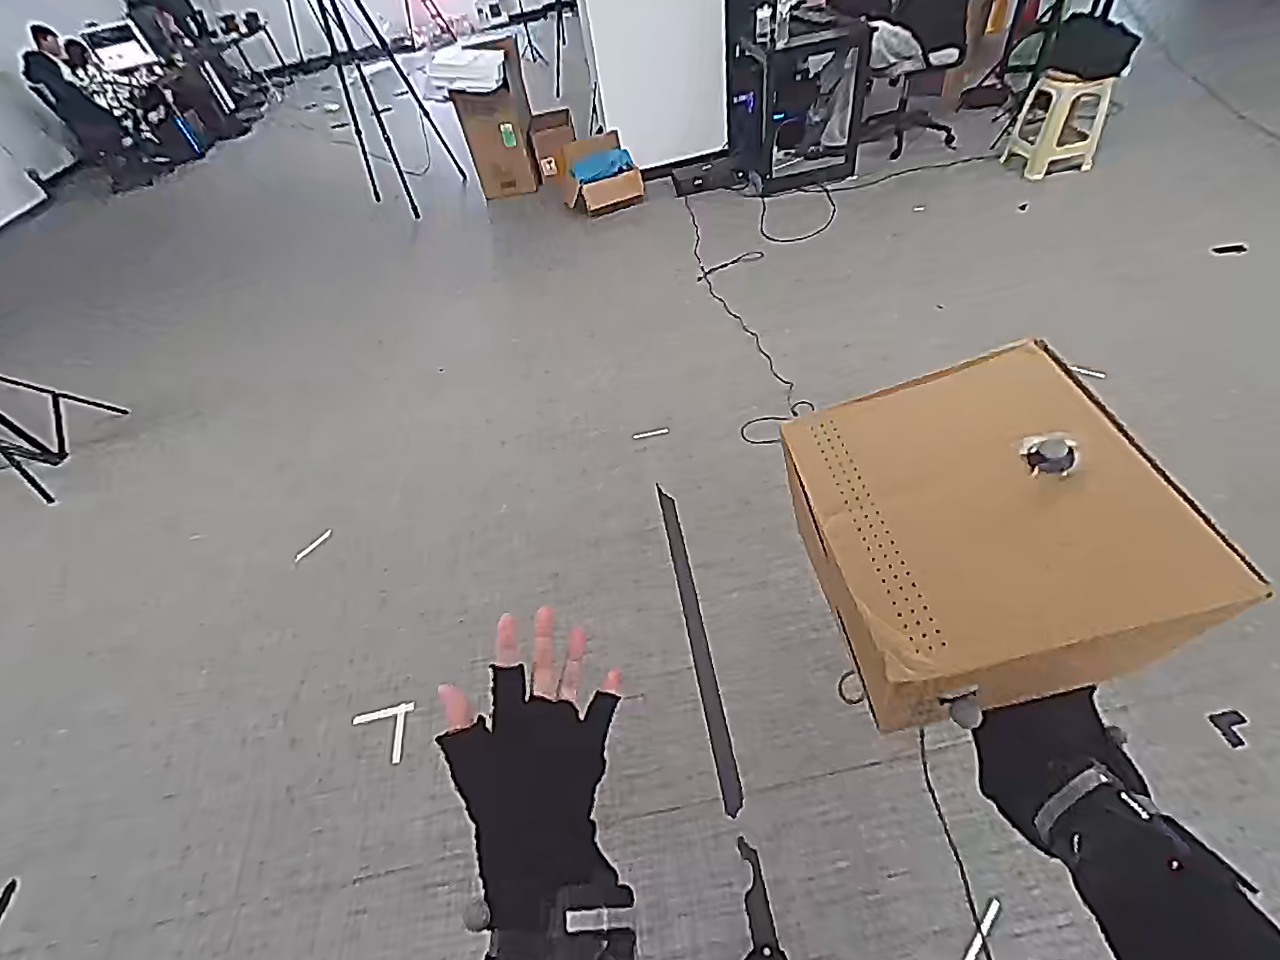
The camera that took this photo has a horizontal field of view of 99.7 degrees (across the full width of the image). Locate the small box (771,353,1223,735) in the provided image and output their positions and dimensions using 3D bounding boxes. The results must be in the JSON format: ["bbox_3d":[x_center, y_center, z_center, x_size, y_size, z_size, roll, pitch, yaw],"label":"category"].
[{"bbox_3d":[0.201,0.053,0.370,0.176,0.168,0.179,-20,54,11],"label":"small box"}]
